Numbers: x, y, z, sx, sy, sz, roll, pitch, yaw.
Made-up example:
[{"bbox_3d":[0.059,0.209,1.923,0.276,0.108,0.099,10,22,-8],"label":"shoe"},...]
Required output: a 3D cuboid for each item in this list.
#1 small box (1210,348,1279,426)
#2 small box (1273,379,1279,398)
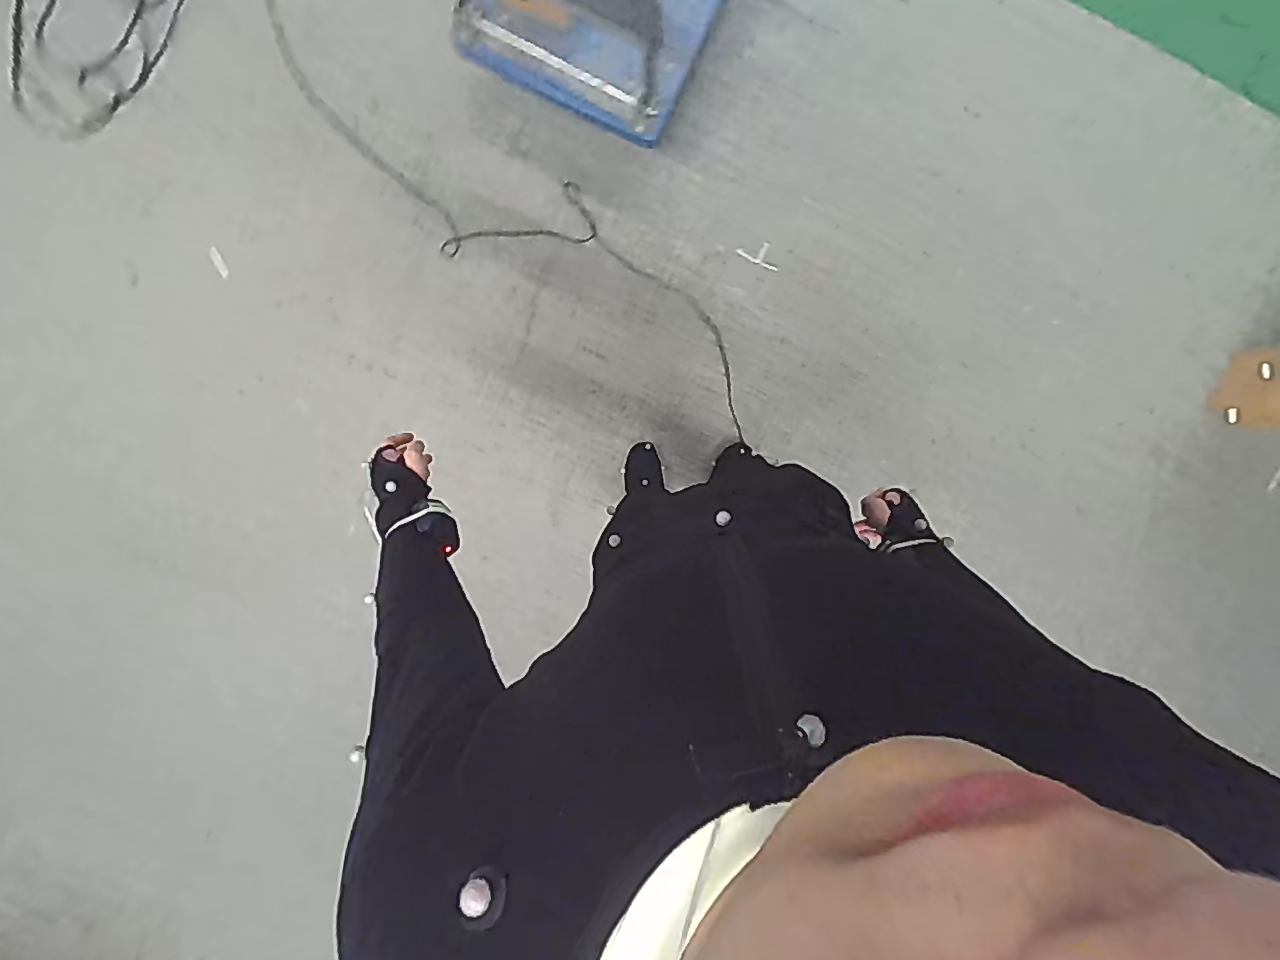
[{"bbox_3d":[1.825,-0.268,1.553,0.168,0.176,0.179,30,95,-3],"label":"small box"},{"bbox_3d":[1.825,-0.259,1.390,0.179,0.176,0.168,29,95,-2],"label":"small box"}]
